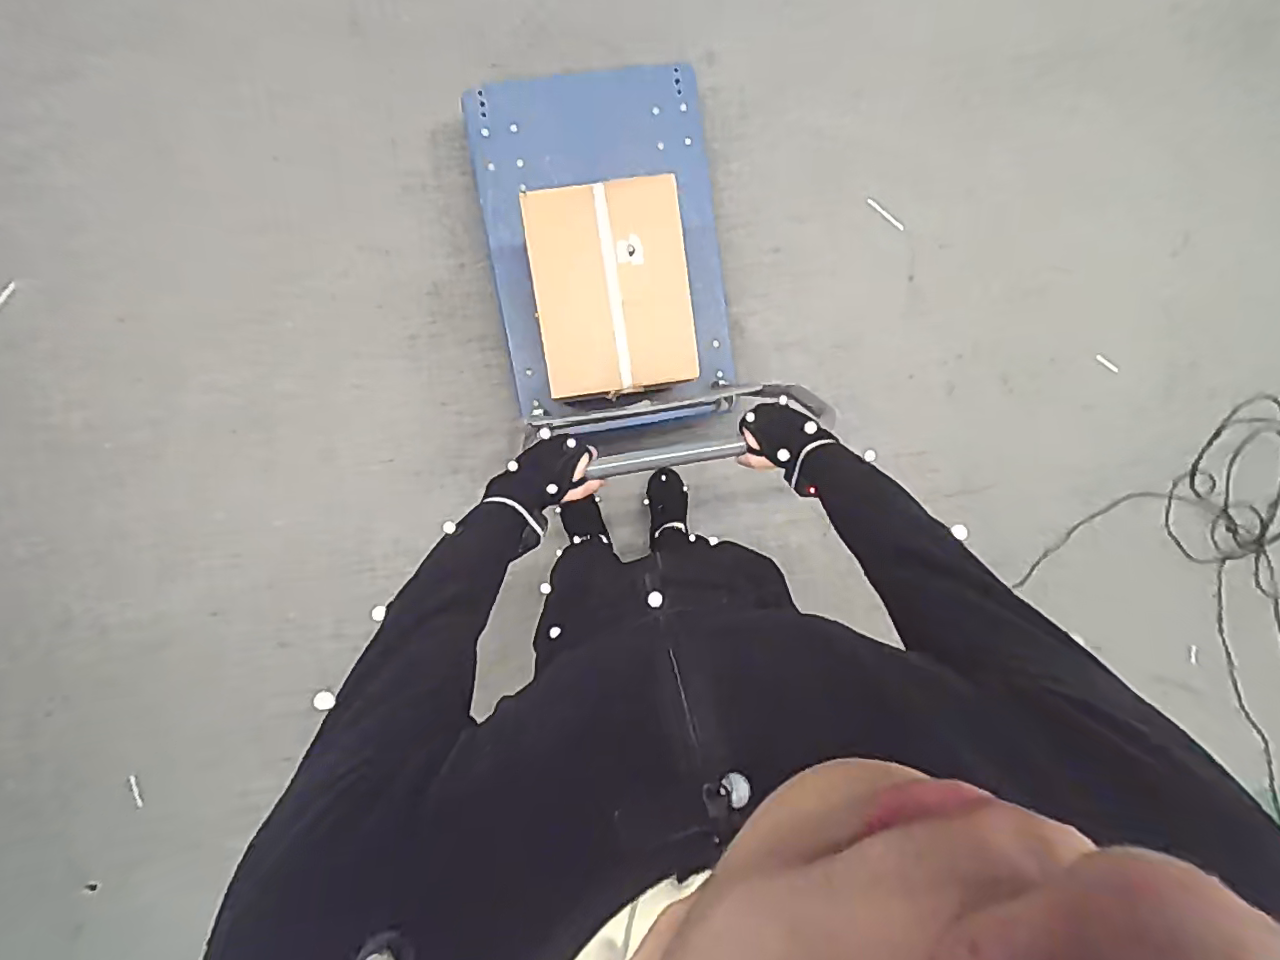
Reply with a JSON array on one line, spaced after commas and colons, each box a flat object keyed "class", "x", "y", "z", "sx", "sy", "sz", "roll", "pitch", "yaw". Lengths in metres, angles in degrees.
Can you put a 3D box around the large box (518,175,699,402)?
[{"class": "large box", "x": -0.070, "y": -0.407, "z": 1.244, "sx": 0.320, "sy": 0.320, "sz": 0.408, "roll": -9, "pitch": 96, "yaw": -4}]
